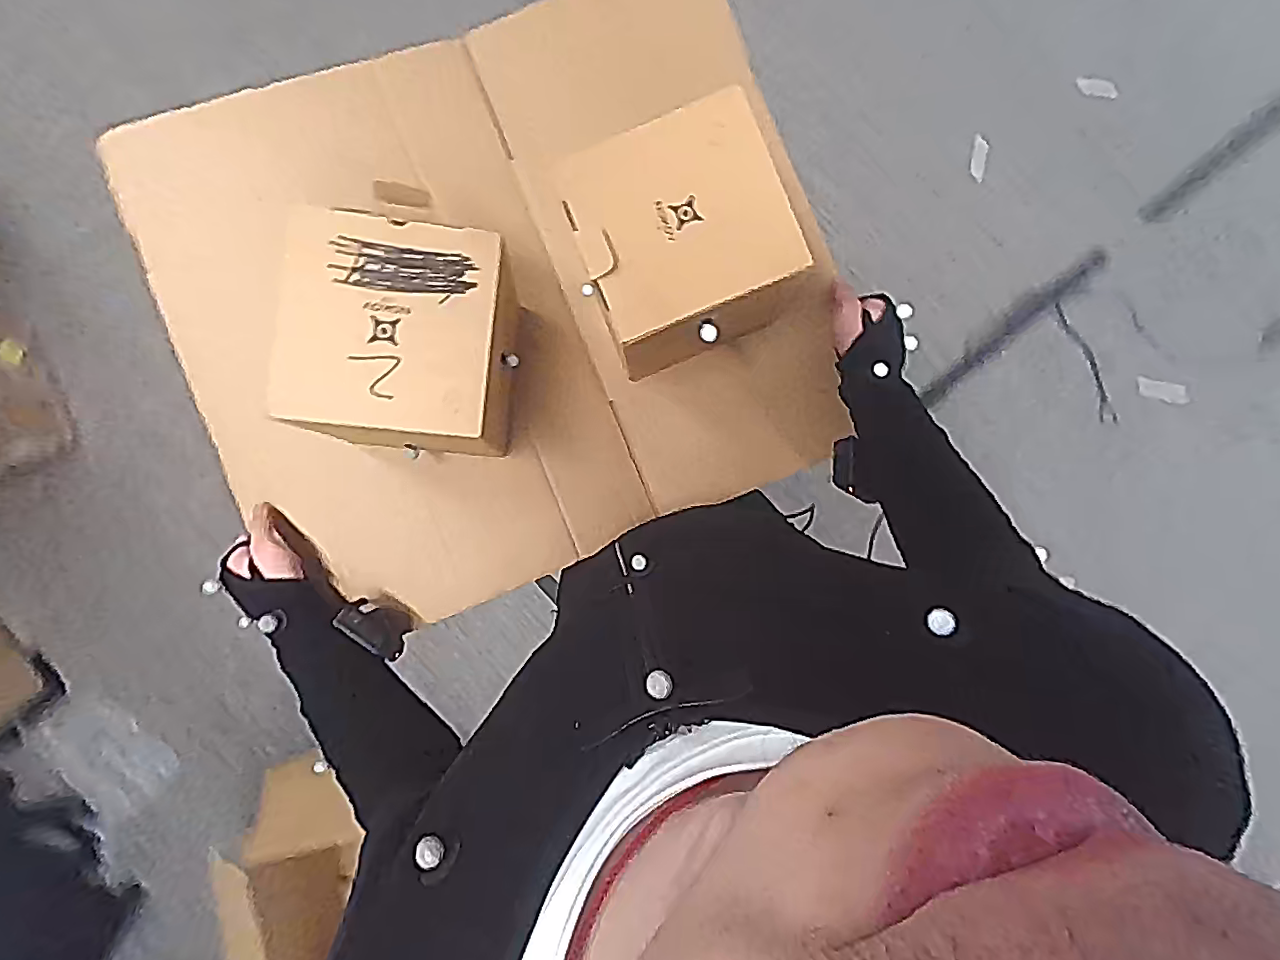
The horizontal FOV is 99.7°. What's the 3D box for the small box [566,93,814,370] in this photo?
[{"bbox_3d":[0.045,-0.227,0.544,0.179,0.176,0.168,-21,90,3],"label":"small box"}]
